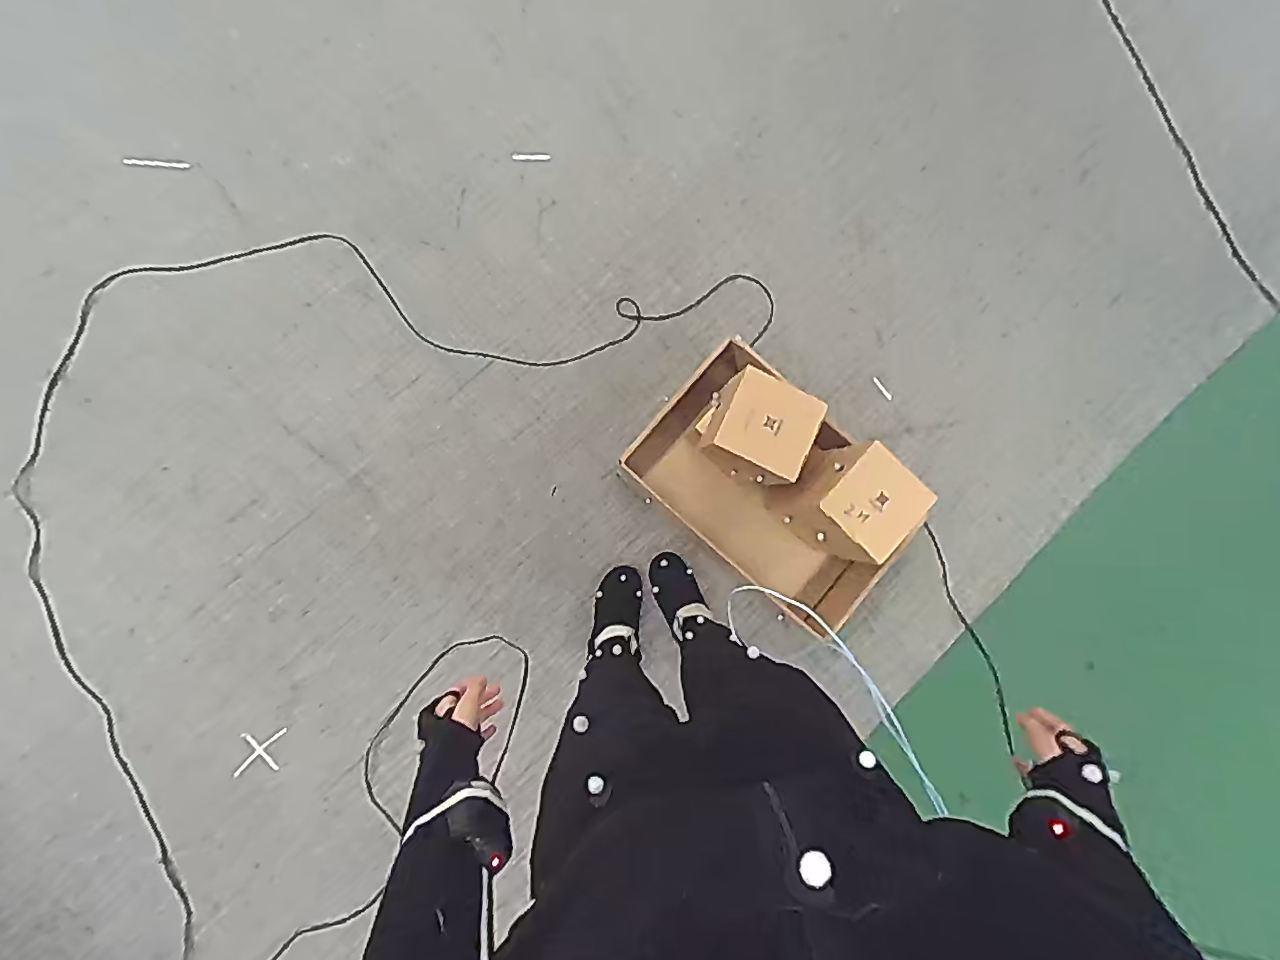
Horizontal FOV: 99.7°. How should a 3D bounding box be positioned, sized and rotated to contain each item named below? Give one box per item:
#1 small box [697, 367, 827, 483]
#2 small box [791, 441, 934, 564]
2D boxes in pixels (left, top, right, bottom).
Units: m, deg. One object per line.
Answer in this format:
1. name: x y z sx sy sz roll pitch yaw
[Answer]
1. small box: 0.237 -0.103 1.090 0.179 0.176 0.168 26 86 -4
2. small box: 0.439 0.045 1.097 0.168 0.176 0.179 44 85 -1
